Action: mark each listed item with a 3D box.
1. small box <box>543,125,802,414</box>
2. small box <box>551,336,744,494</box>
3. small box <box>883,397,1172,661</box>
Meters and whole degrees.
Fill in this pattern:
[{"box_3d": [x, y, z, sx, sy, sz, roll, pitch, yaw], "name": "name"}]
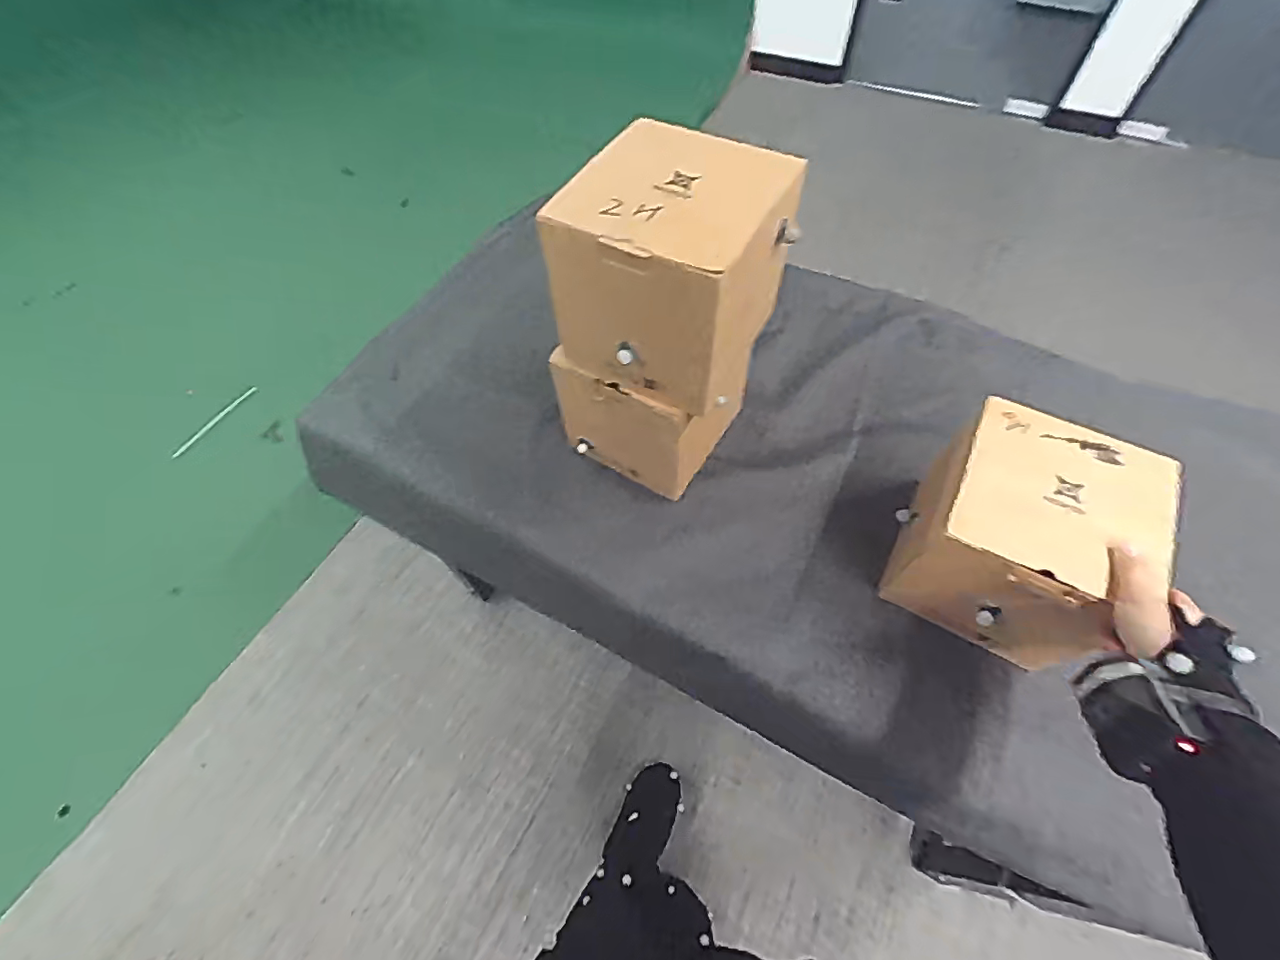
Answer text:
[{"box_3d": [0.032, -0.199, 0.522, 0.168, 0.176, 0.179, 25, 62, 17], "name": "small box"}, {"box_3d": [0.019, -0.113, 0.663, 0.168, 0.176, 0.179, 28, 63, 17], "name": "small box"}, {"box_3d": [0.370, 0.056, 0.546, 0.168, 0.176, 0.179, 26, 64, 17], "name": "small box"}]
